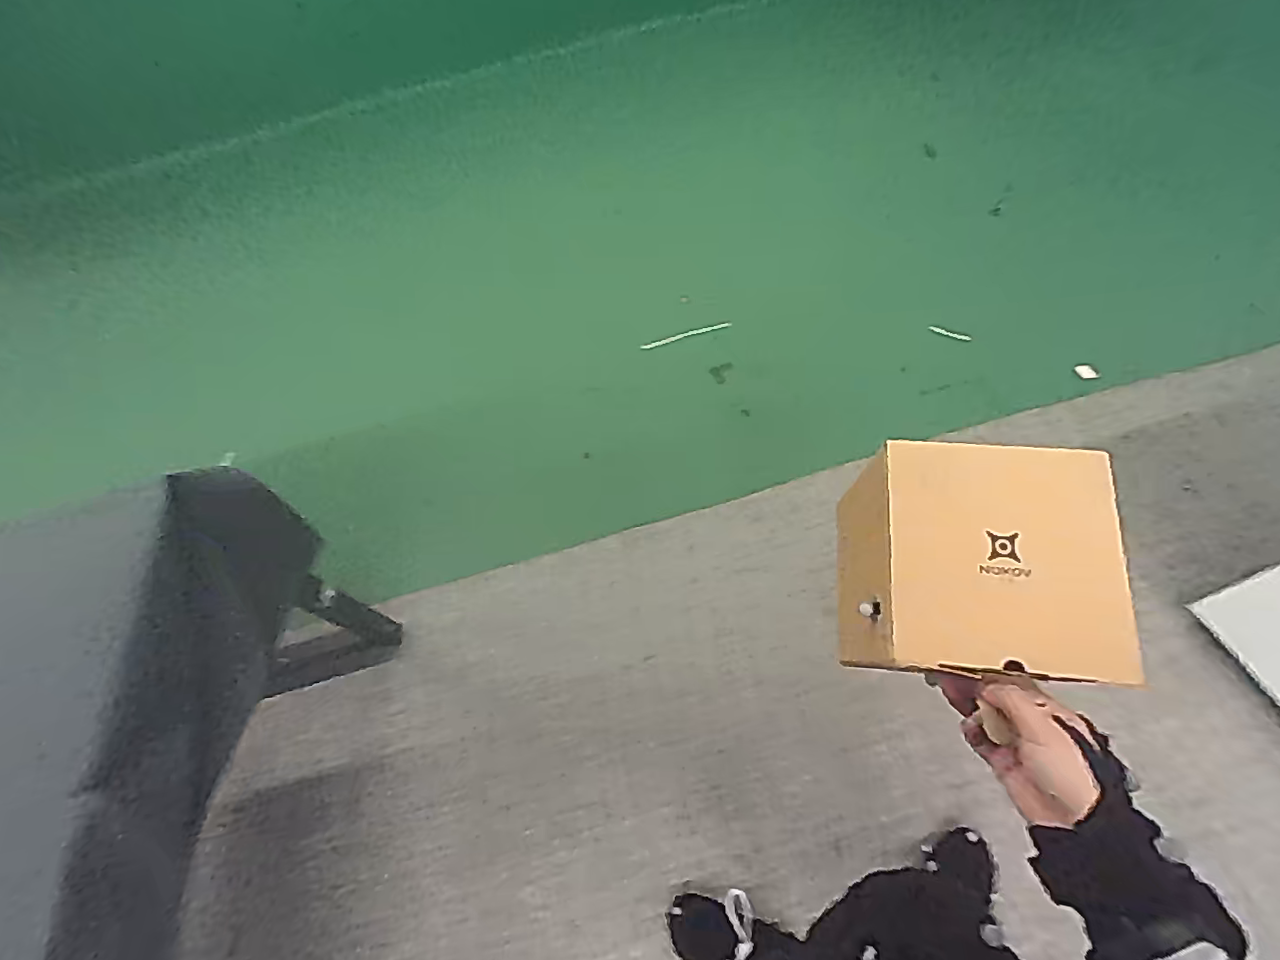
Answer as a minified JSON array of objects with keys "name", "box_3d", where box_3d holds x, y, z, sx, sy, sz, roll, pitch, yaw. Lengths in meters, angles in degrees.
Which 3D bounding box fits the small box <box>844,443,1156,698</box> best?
[{"name":"small box","box_3d":[0.284,0.084,0.475,0.168,0.176,0.179,4,73,7]}]
